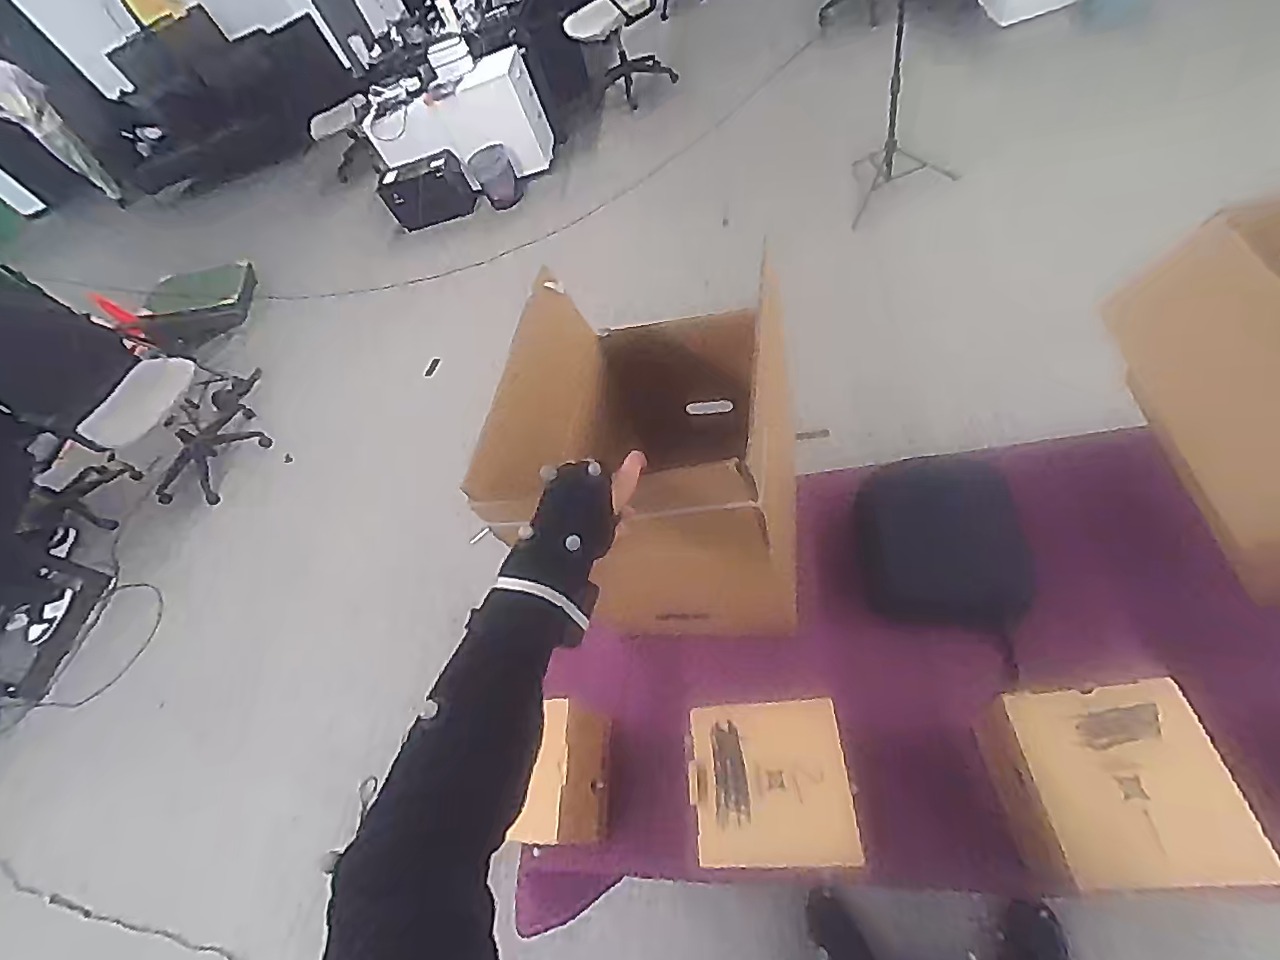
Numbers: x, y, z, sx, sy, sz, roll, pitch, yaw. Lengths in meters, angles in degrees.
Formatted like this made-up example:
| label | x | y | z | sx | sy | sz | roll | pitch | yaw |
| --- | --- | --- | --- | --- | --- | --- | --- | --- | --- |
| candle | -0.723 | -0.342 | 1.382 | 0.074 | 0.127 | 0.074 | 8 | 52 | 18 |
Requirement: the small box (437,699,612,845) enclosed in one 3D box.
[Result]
| label | x | y | z | sx | sy | sz | roll | pitch | yaw |
| --- | --- | --- | --- | --- | --- | --- | --- | --- | --- |
| small box | -0.152 | 0.421 | 0.775 | 0.179 | 0.176 | 0.168 | -8 | 55 | 14 |

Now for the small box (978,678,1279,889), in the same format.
| label | x | y | z | sx | sy | sz | roll | pitch | yaw |
| --- | --- | --- | --- | --- | --- | --- | --- | --- | --- |
| small box | 0.501 | 0.334 | 0.592 | 0.168 | 0.176 | 0.179 | -12 | 55 | 13 |
